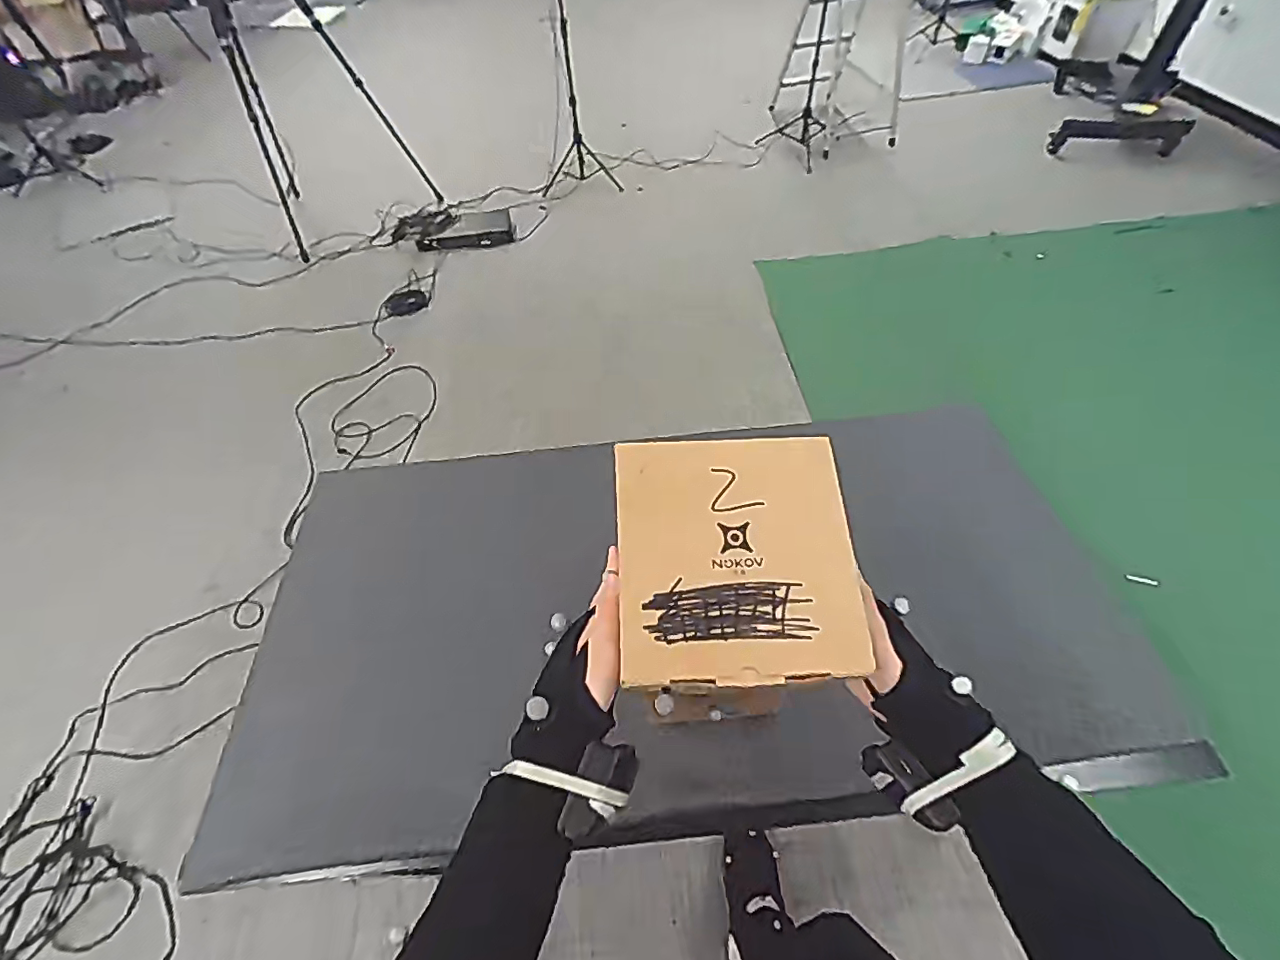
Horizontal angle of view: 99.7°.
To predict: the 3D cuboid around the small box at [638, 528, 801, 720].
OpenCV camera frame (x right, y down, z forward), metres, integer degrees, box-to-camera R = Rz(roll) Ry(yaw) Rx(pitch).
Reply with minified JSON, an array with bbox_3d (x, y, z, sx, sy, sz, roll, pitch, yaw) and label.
[{"bbox_3d":[0.086,0.181,0.673,0.168,0.176,0.179,-5,53,1],"label":"small box"}]
